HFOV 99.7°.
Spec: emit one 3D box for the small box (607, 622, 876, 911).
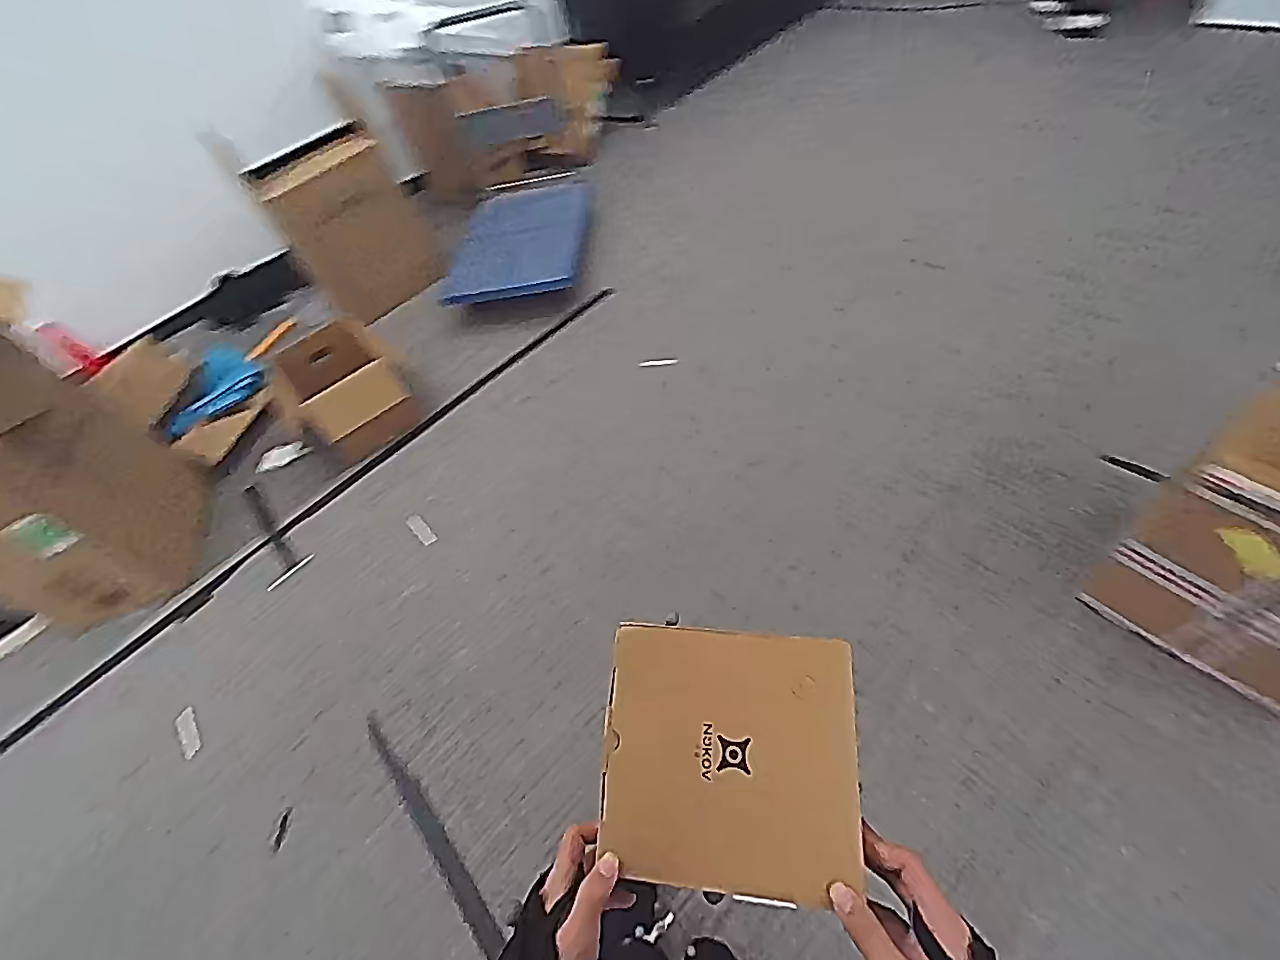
[{"bbox_3d":[0.084,0.217,0.452,0.179,0.176,0.168,2,69,12],"label":"small box"}]
